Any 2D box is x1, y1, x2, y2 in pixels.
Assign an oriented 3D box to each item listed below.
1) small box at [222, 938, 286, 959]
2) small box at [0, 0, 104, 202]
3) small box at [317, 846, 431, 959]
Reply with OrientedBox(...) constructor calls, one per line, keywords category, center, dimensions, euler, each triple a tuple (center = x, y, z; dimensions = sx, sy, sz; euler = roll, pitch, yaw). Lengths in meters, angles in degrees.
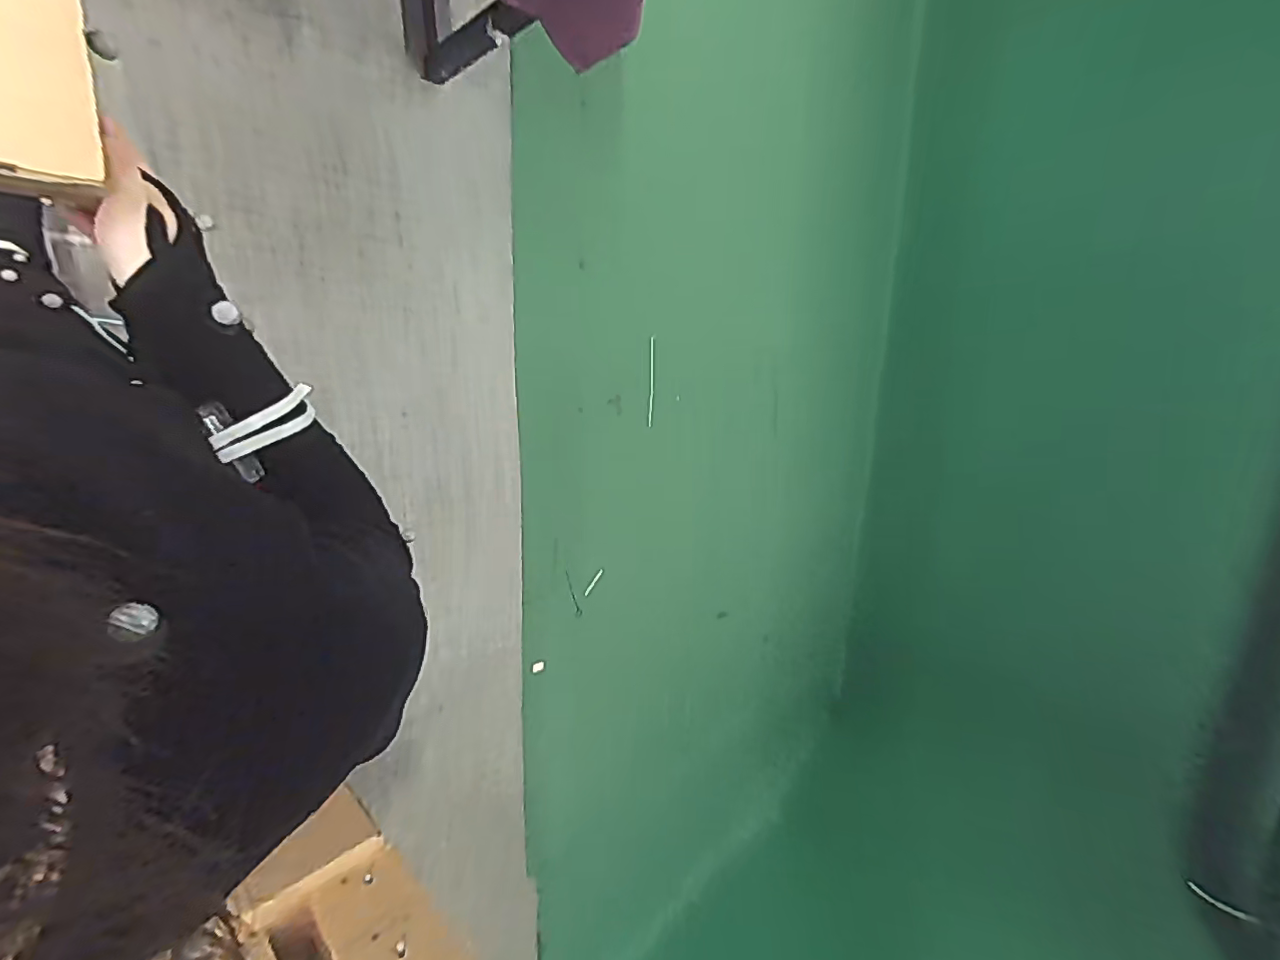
OrientedBox(category="small box", center=(-0.697, 0.947, 0.927), dimensions=(0.168, 0.176, 0.179), euler=(-7, 106, -47))
OrientedBox(category="small box", center=(-0.378, -0.244, 0.254), dimensions=(0.168, 0.176, 0.179), euler=(-10, 112, -43))
OrientedBox(category="small box", center=(-0.534, 0.902, 1.094), dimensions=(0.168, 0.176, 0.179), euler=(-11, 106, -44))
